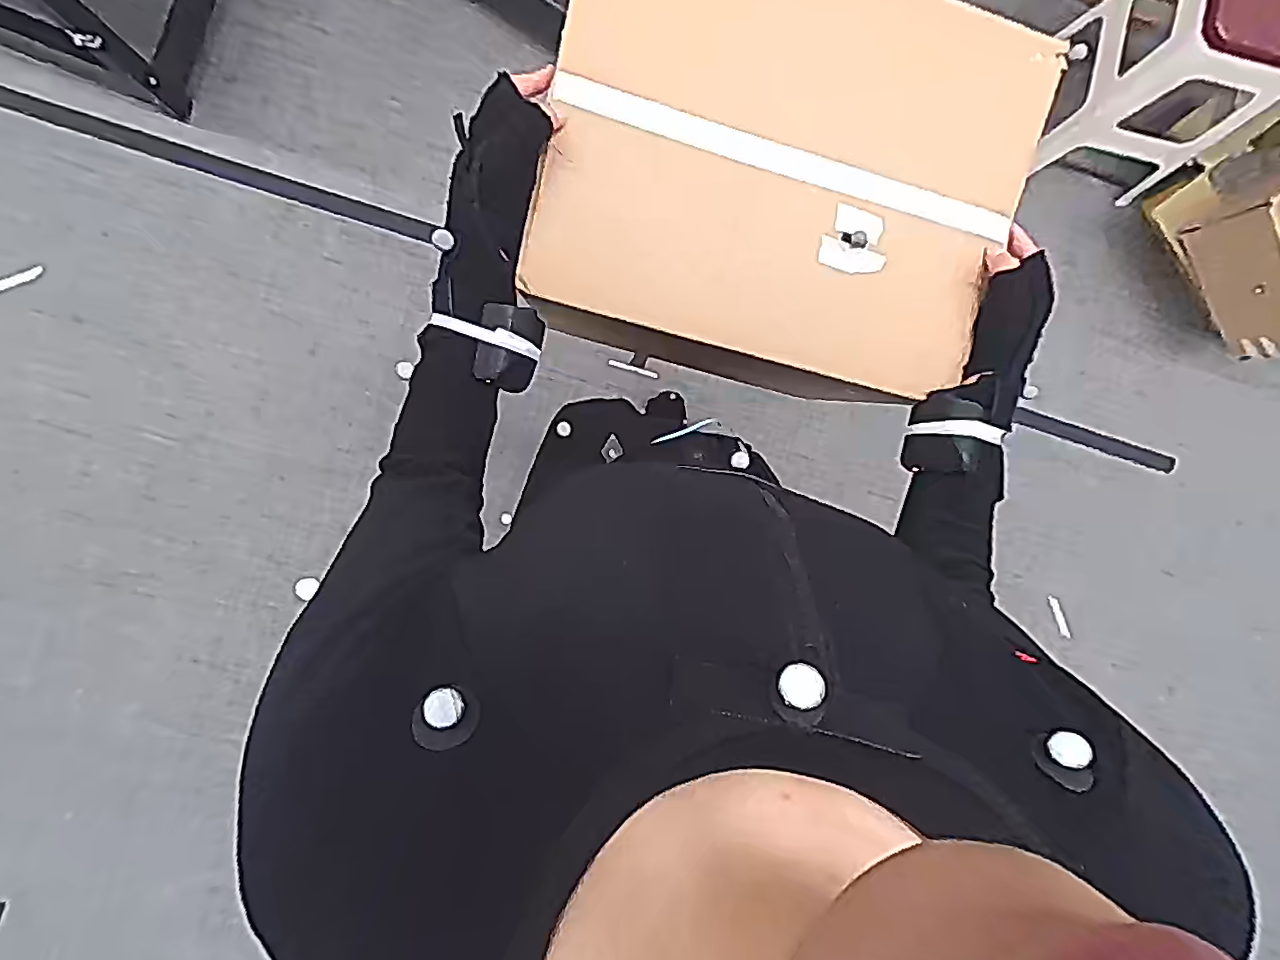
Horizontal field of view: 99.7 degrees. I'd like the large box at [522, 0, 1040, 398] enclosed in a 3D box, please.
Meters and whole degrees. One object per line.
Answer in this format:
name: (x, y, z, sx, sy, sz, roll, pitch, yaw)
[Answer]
large box: (0.105, -0.288, 0.605, 0.408, 0.320, 0.320, 13, 99, -9)
